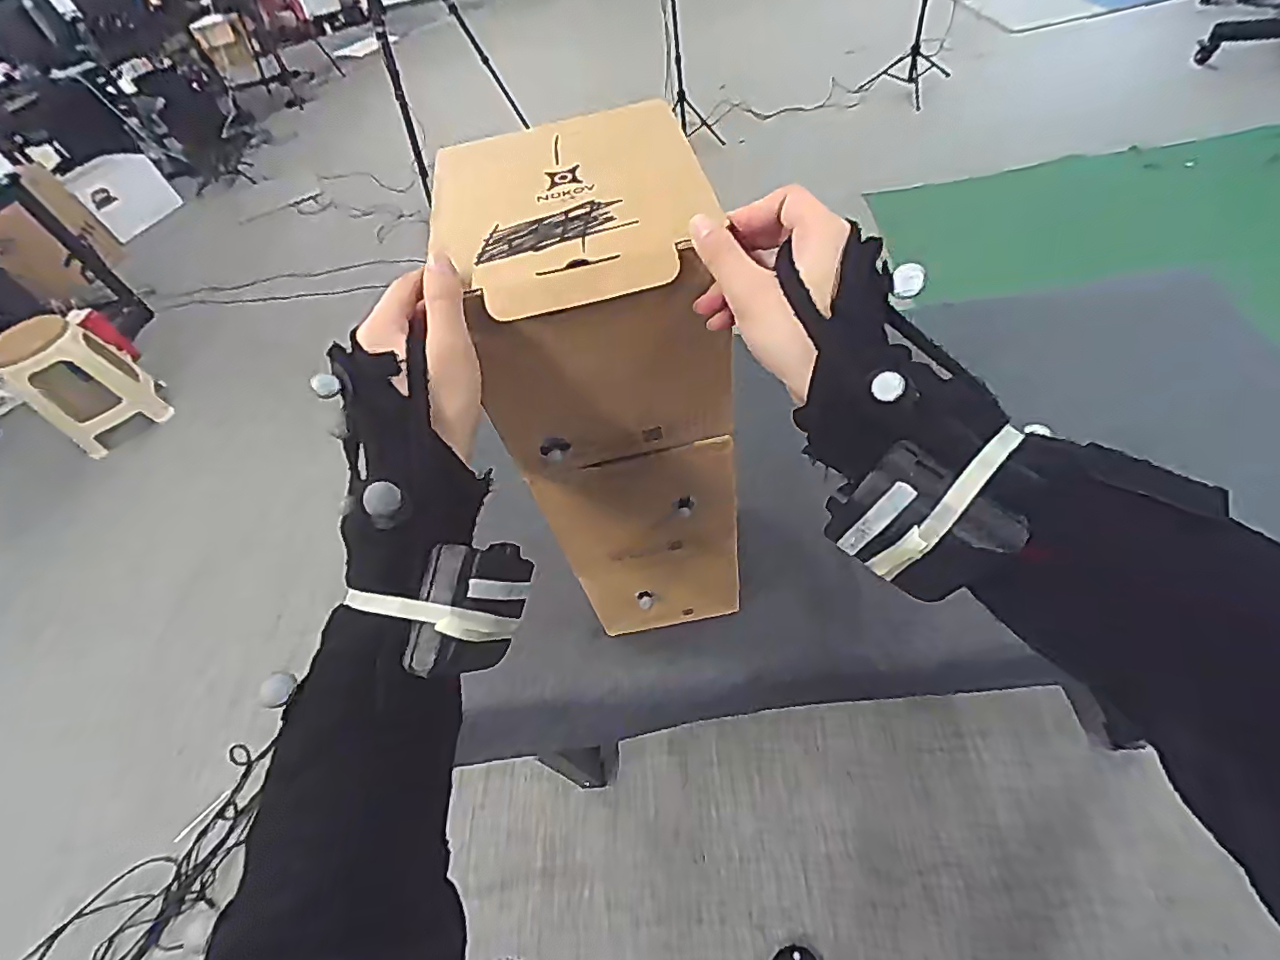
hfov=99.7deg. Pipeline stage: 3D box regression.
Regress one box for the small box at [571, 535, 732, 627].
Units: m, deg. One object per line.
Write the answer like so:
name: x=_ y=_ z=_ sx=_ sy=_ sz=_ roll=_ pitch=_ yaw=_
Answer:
small box: x=0.014 y=0.063 z=0.655 sx=0.168 sy=0.176 sz=0.179 roll=-11 pitch=51 yaw=2

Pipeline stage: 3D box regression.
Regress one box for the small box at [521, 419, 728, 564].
small box: x=-0.011 y=-0.034 z=0.527 sx=0.168 sy=0.176 sz=0.179 roll=-11 pitch=50 yaw=1

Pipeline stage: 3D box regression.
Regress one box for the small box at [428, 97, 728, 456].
small box: x=-0.035 y=-0.134 z=0.392 sx=0.168 sy=0.176 sz=0.179 roll=-12 pitch=54 yaw=0
